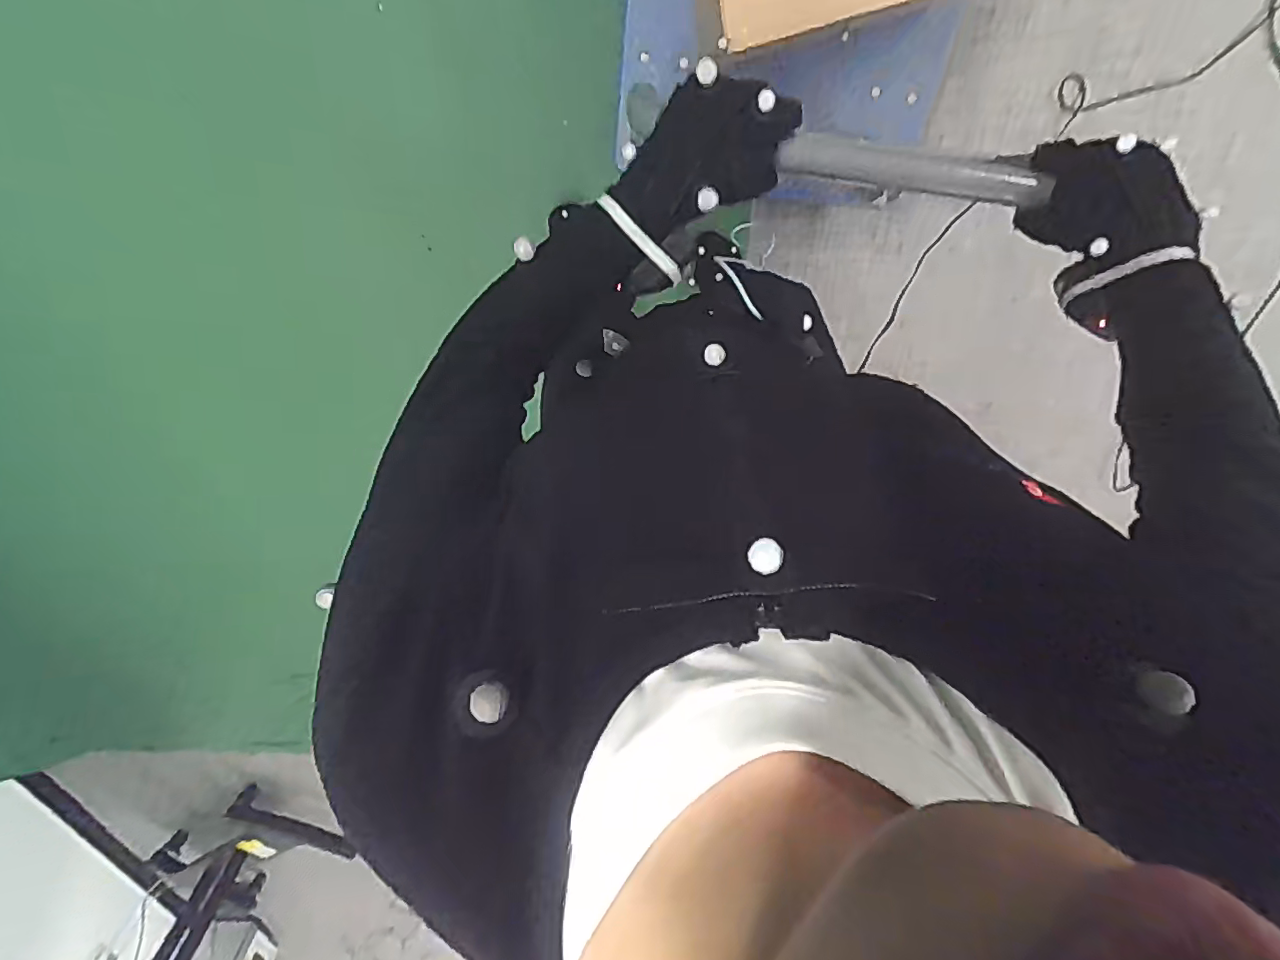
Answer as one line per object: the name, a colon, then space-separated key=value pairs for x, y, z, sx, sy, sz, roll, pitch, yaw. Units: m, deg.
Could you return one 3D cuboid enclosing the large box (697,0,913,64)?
large box: x=0.274 y=-0.822 z=0.739 sx=0.408 sy=0.320 sz=0.320 roll=-11 pitch=122 yaw=9
